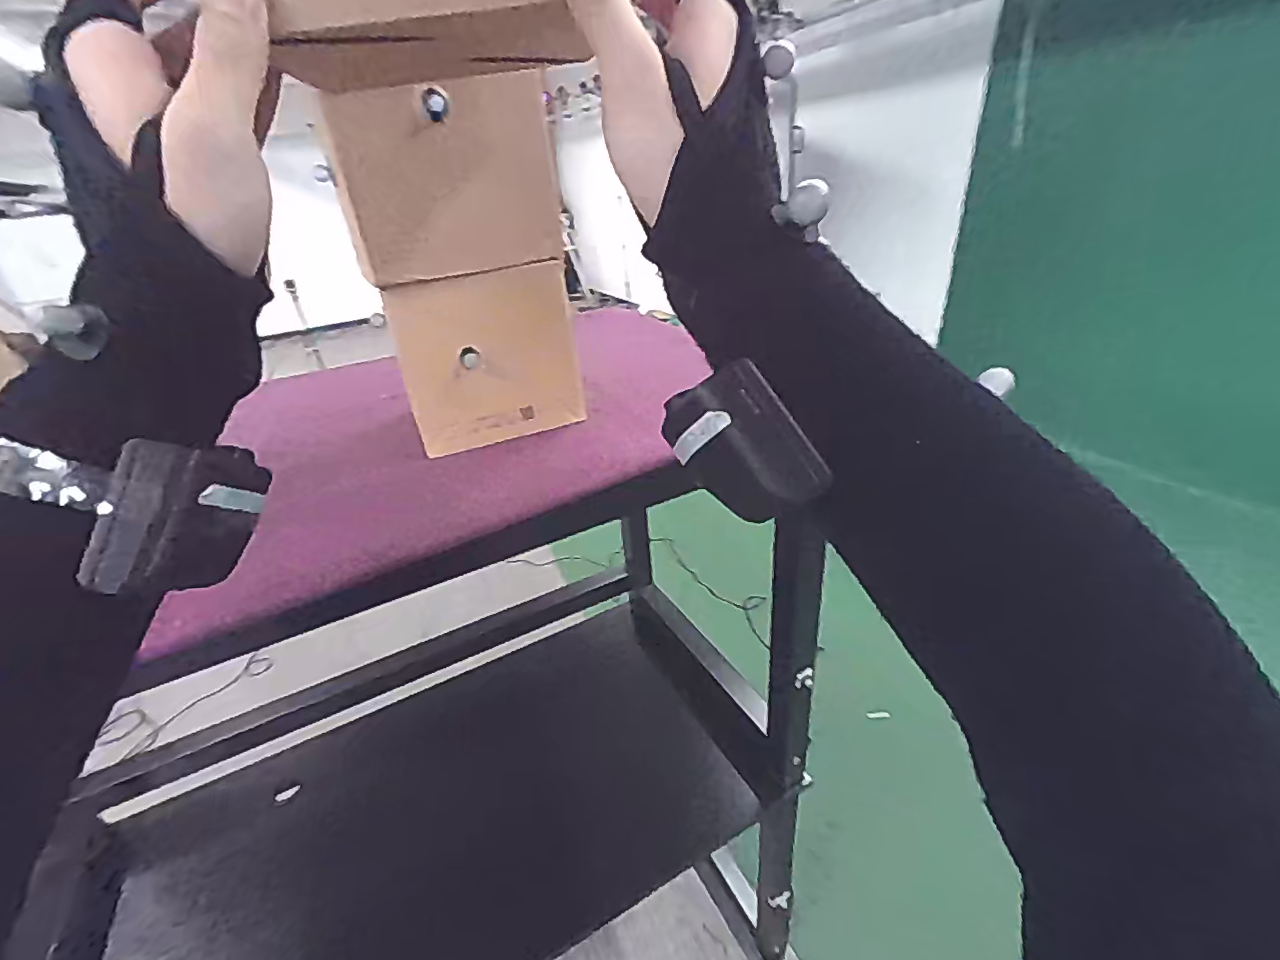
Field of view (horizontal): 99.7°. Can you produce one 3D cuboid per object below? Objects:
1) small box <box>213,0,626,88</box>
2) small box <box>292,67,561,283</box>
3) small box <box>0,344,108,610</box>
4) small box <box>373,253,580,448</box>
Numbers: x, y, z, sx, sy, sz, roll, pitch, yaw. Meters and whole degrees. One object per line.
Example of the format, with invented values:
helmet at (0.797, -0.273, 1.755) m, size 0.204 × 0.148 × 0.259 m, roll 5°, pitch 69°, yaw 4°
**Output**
small box at (-0.111, -0.297, 0.249) m, size 0.179 × 0.176 × 0.168 m, roll -13°, pitch 31°, yaw -7°
small box at (-0.191, -0.286, 0.501) m, size 0.179 × 0.176 × 0.168 m, roll -19°, pitch 31°, yaw -22°
small box at (-0.536, 0.010, 0.371) m, size 0.179 × 0.176 × 0.168 m, roll -21°, pitch 32°, yaw -25°
small box at (-0.175, -0.147, 0.586) m, size 0.168 × 0.176 × 0.179 m, roll -18°, pitch 30°, yaw -19°
